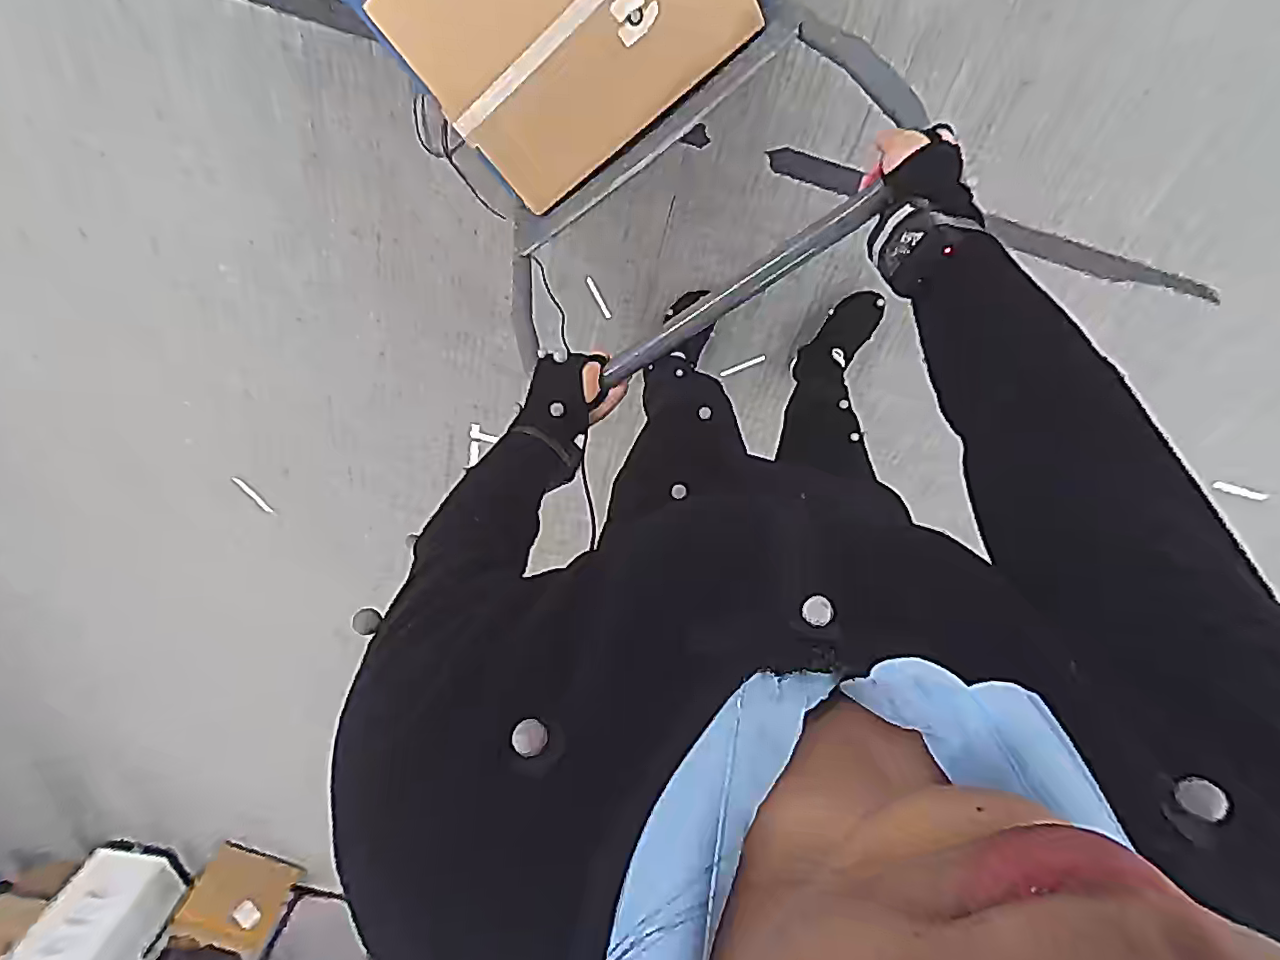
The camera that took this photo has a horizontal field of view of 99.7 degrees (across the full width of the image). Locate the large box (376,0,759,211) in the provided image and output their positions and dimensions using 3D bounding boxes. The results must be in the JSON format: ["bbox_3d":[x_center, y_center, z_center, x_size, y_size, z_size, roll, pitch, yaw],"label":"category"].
[{"bbox_3d":[-0.103,-0.700,0.796,0.408,0.320,0.320,-31,132,21],"label":"large box"}]
